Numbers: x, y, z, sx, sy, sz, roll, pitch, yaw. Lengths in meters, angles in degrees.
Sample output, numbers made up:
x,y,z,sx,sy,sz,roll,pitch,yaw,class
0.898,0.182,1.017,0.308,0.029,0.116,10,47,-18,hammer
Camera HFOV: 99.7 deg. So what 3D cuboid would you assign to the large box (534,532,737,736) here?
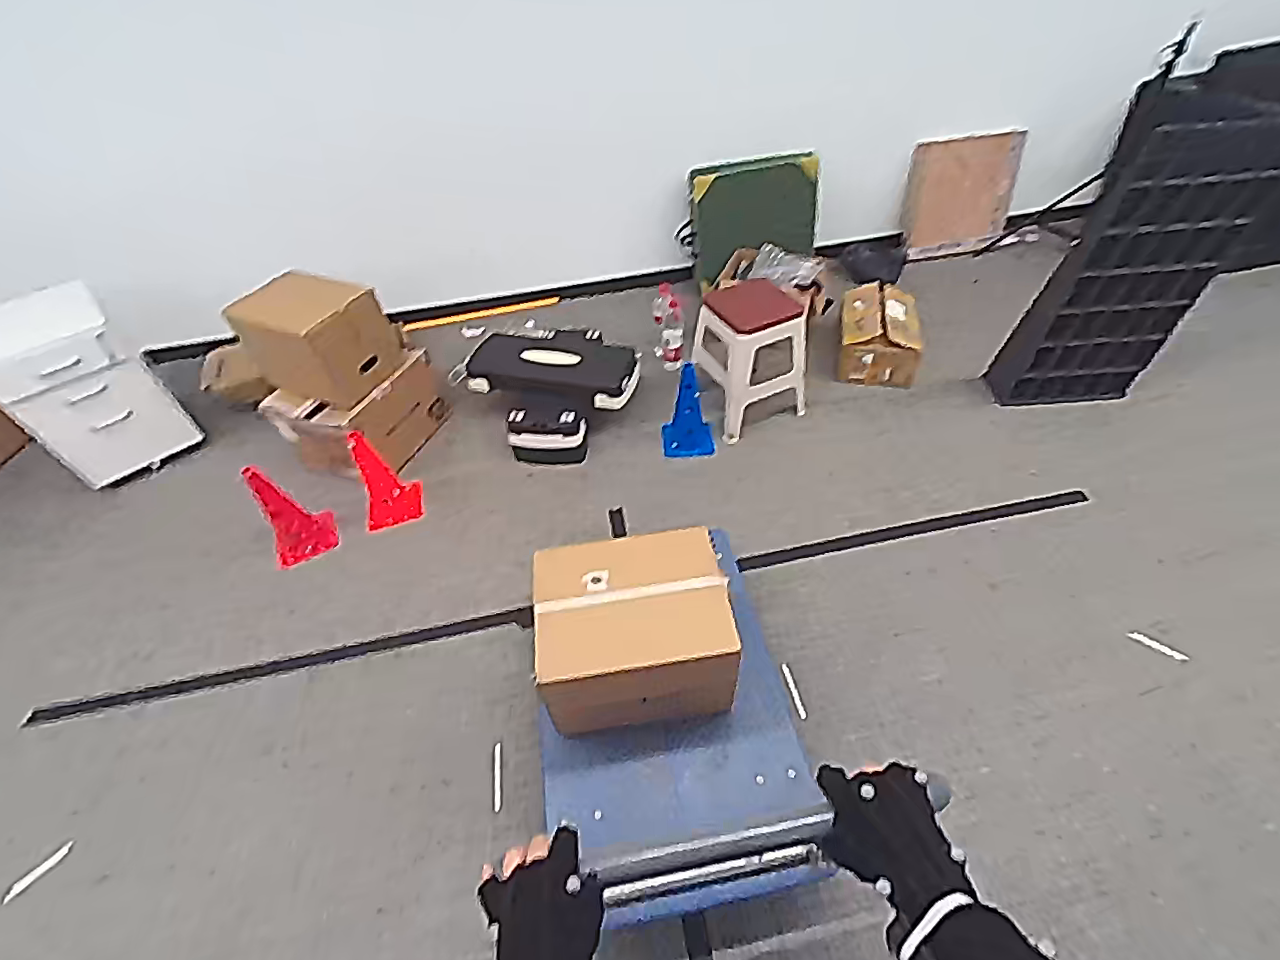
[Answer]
x,y,z,sx,sy,sz,roll,pitch,yaw,class
-0.013,0.362,1.261,0.408,0.320,0.320,-9,47,-3,large box
